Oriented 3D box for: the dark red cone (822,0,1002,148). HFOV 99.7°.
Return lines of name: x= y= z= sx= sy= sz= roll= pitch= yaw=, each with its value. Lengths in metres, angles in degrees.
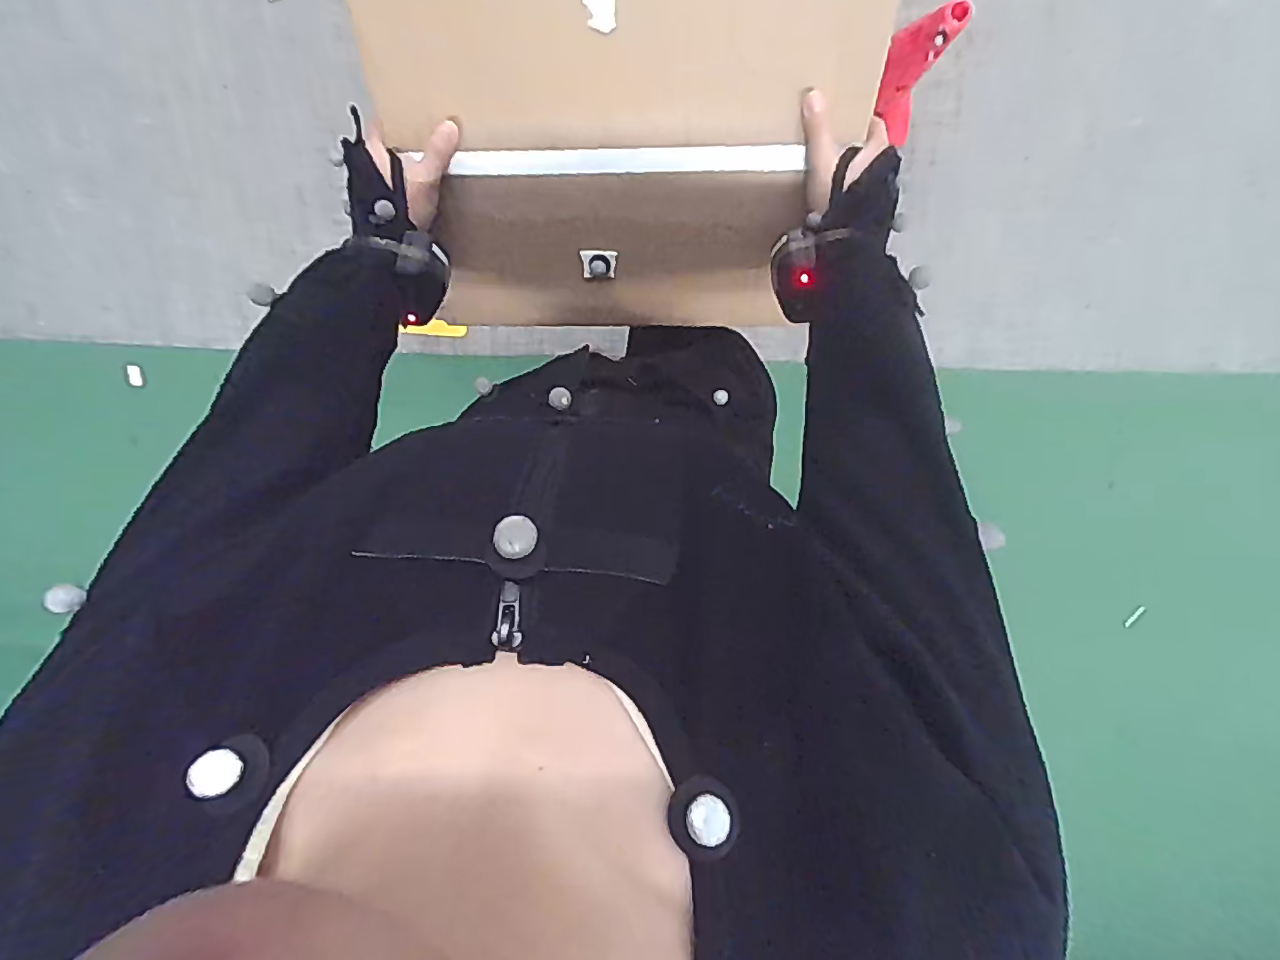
dark red cone: x=0.461 y=-0.712 z=0.906 sx=0.202 sy=0.394 sz=0.201 roll=-5 pitch=111 yaw=1
